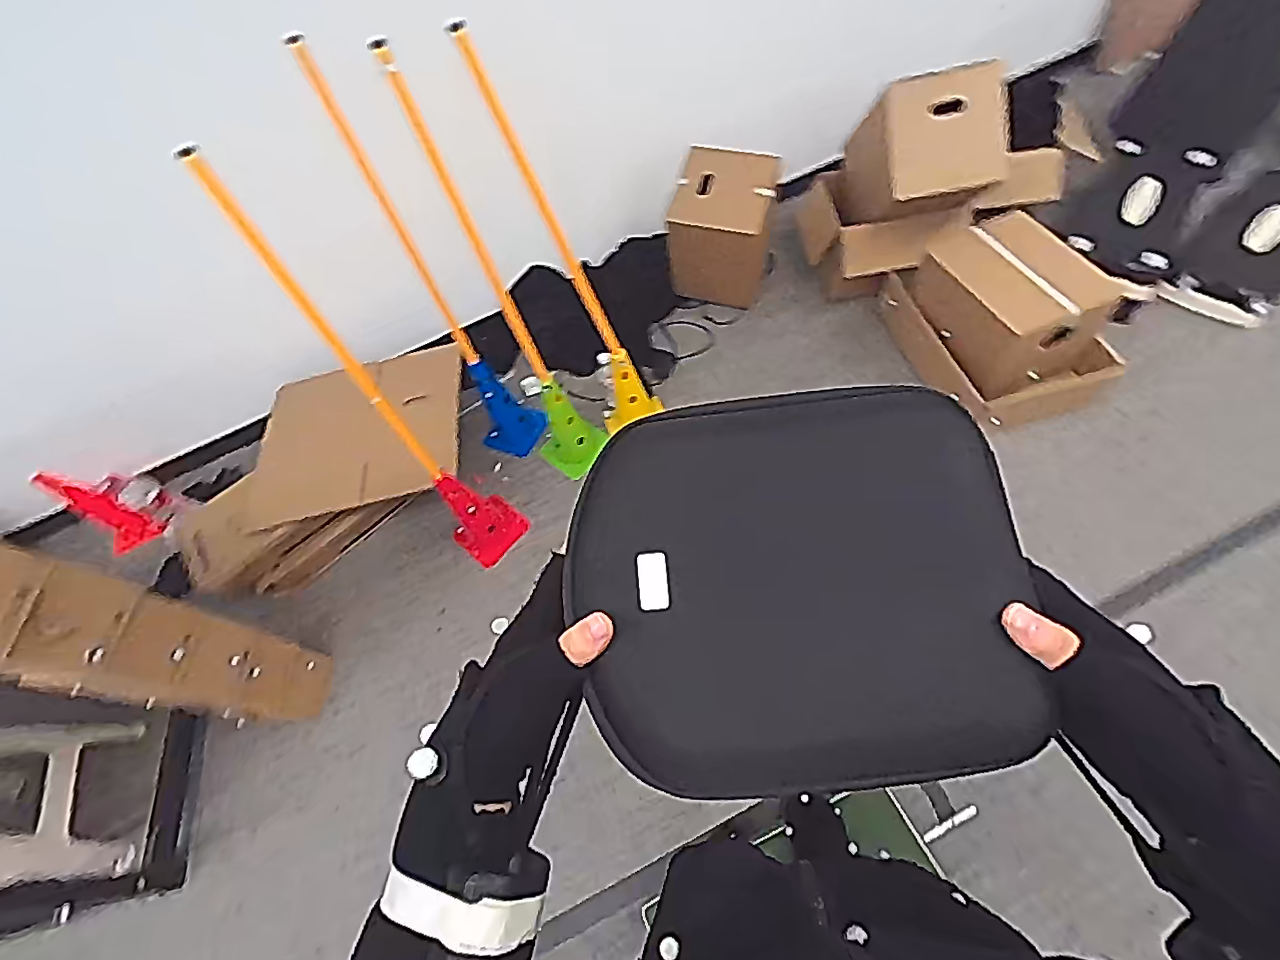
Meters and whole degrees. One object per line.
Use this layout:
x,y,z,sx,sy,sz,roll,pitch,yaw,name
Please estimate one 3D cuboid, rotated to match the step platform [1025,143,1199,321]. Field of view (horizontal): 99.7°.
1.595,-0.855,1.828,0.286,0.204,0.684,29,70,23,step platform
